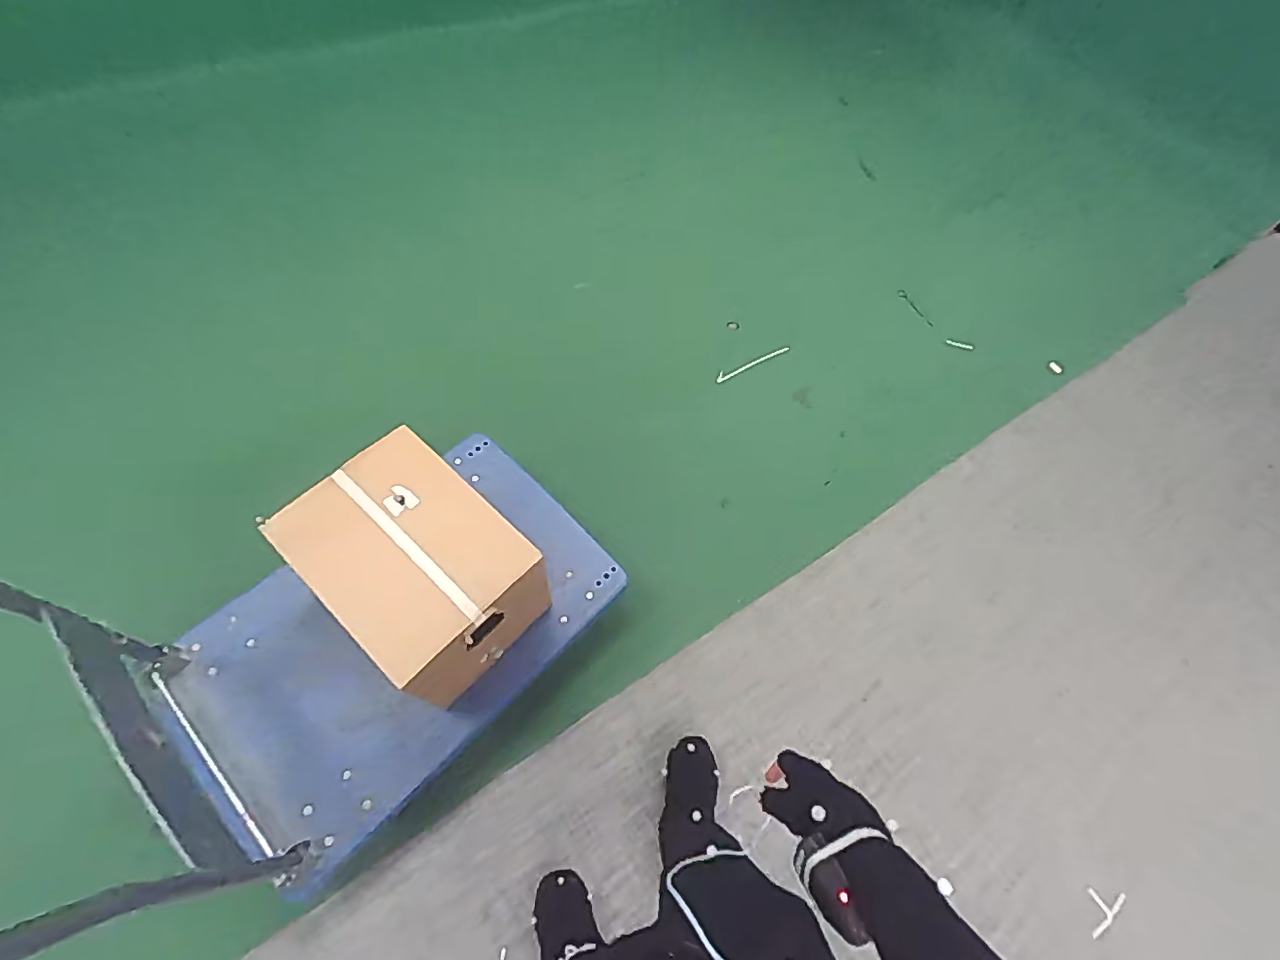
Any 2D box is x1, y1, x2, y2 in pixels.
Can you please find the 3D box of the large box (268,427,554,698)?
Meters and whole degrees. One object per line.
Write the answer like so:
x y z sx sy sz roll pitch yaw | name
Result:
-0.430 0.177 1.107 0.408 0.320 0.320 39 65 16 | large box
